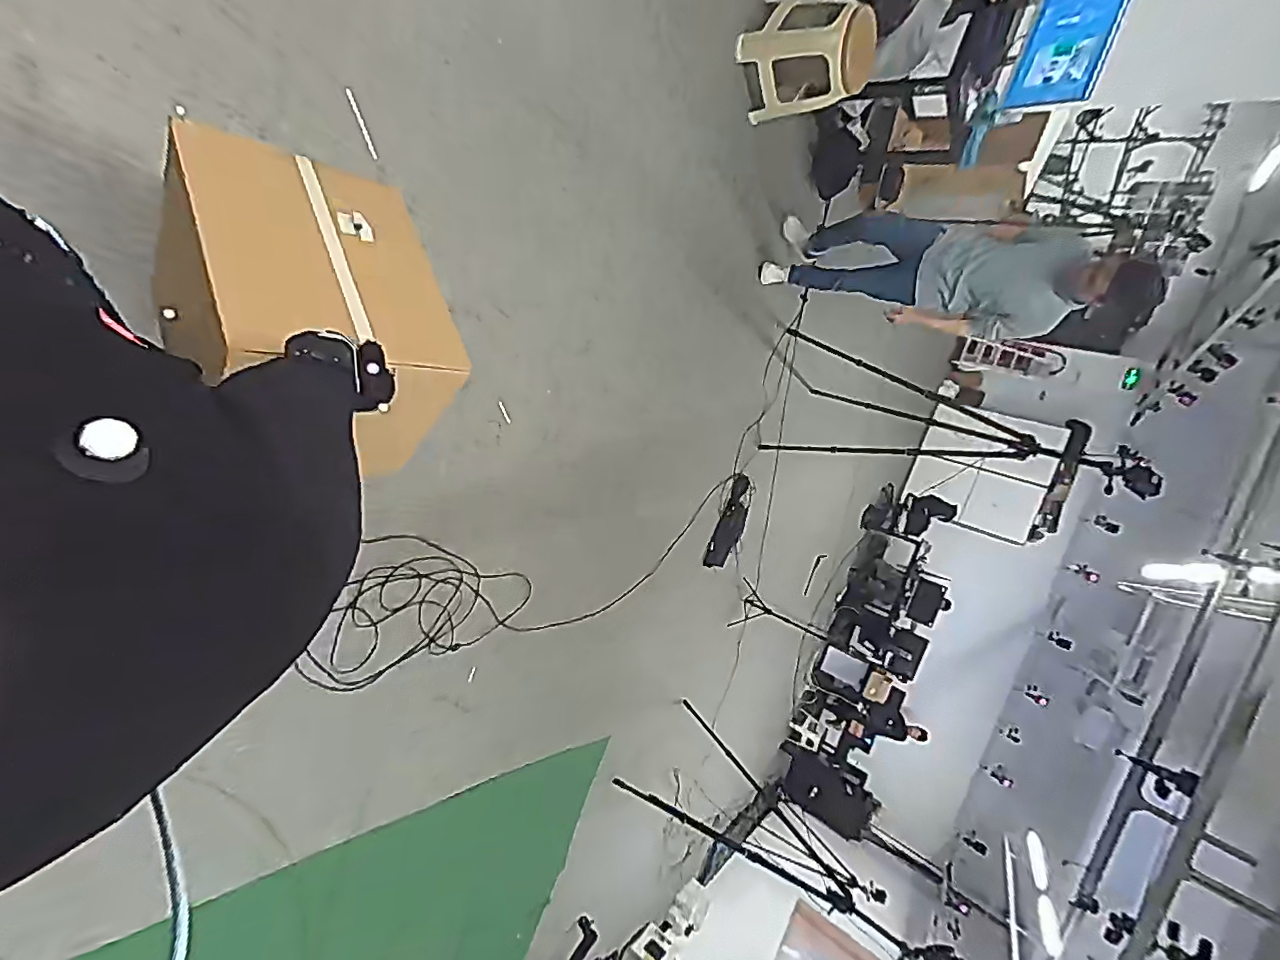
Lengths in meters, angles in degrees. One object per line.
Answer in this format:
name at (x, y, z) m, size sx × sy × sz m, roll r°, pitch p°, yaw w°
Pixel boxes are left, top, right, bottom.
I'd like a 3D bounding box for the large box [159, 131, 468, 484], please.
large box at (-0.547, -0.250, 0.889) m, size 0.320 × 0.408 × 0.320 m, roll -6°, pitch 153°, yaw -49°
